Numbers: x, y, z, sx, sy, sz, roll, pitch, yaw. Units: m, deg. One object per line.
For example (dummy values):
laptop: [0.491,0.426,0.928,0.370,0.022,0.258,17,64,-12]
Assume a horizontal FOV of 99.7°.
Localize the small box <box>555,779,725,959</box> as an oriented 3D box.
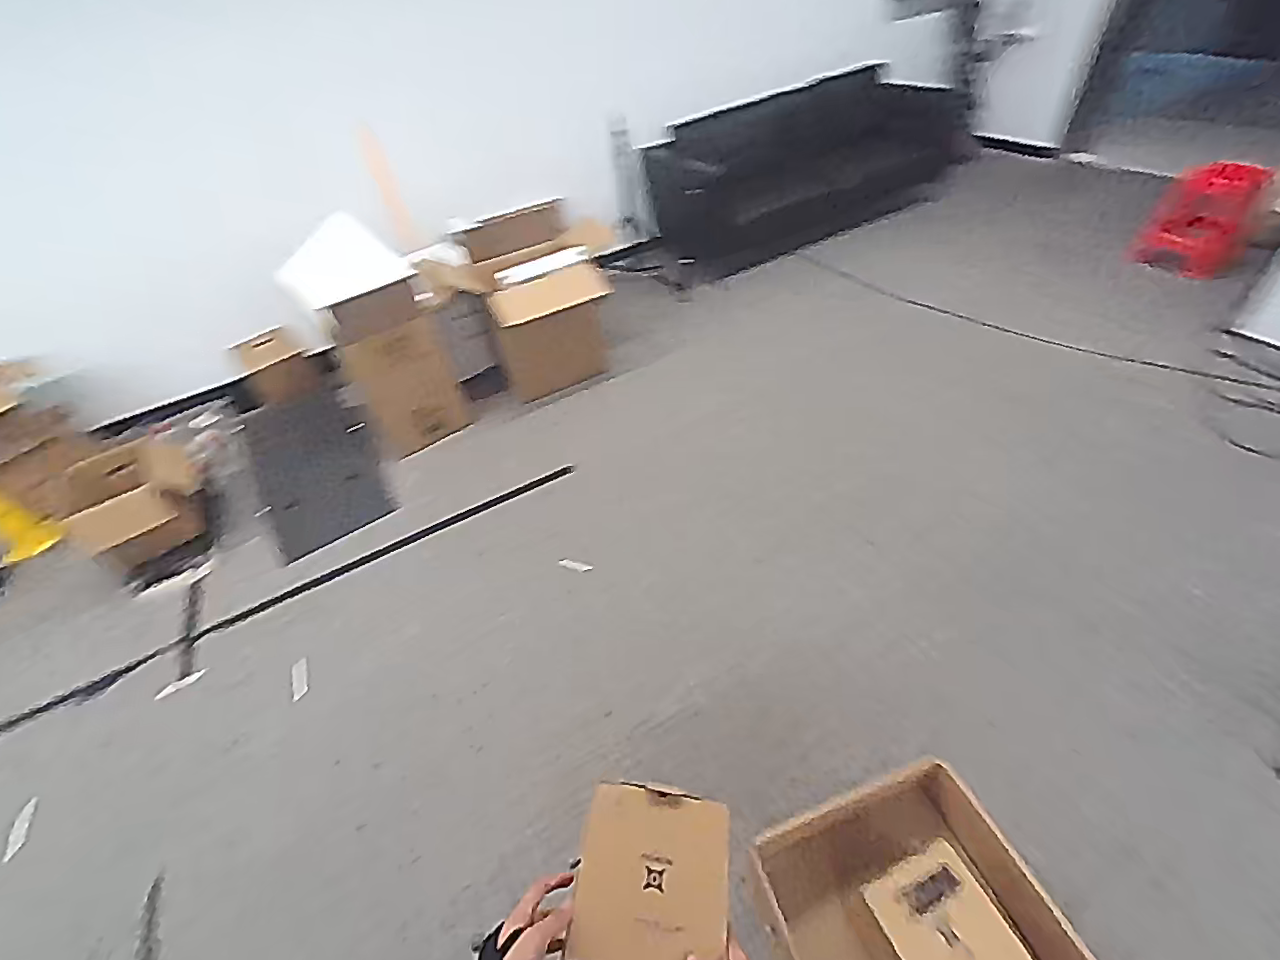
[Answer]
small box: [-0.002,0.493,0.640,0.168,0.176,0.179,12,40,0]
